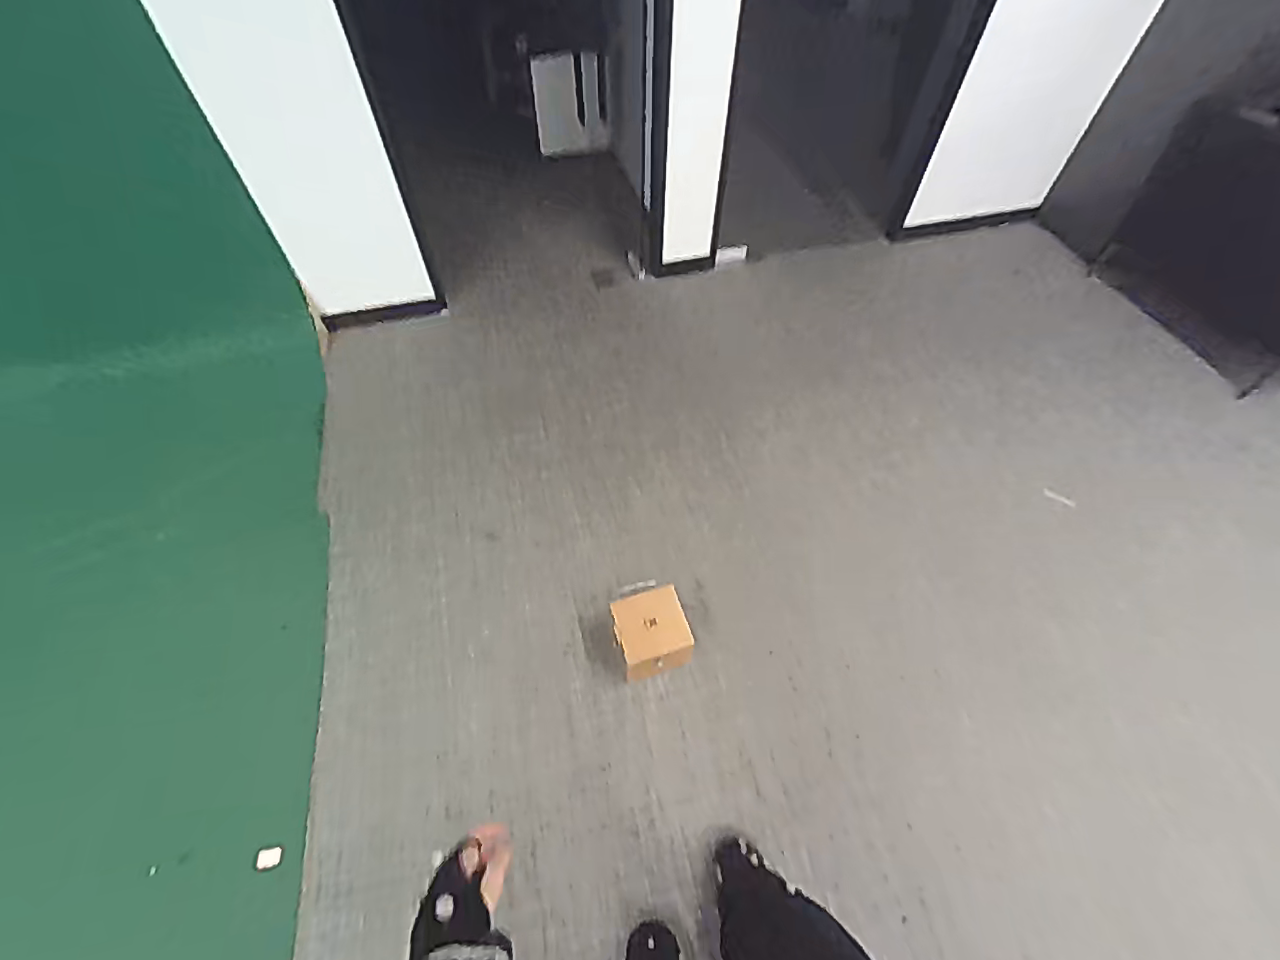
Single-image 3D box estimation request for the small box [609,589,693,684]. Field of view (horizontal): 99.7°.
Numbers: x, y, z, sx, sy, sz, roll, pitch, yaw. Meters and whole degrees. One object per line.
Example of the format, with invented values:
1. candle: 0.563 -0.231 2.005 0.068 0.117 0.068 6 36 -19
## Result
1. small box: 0.023 0.409 1.404 0.179 0.176 0.168 -15 57 -10
